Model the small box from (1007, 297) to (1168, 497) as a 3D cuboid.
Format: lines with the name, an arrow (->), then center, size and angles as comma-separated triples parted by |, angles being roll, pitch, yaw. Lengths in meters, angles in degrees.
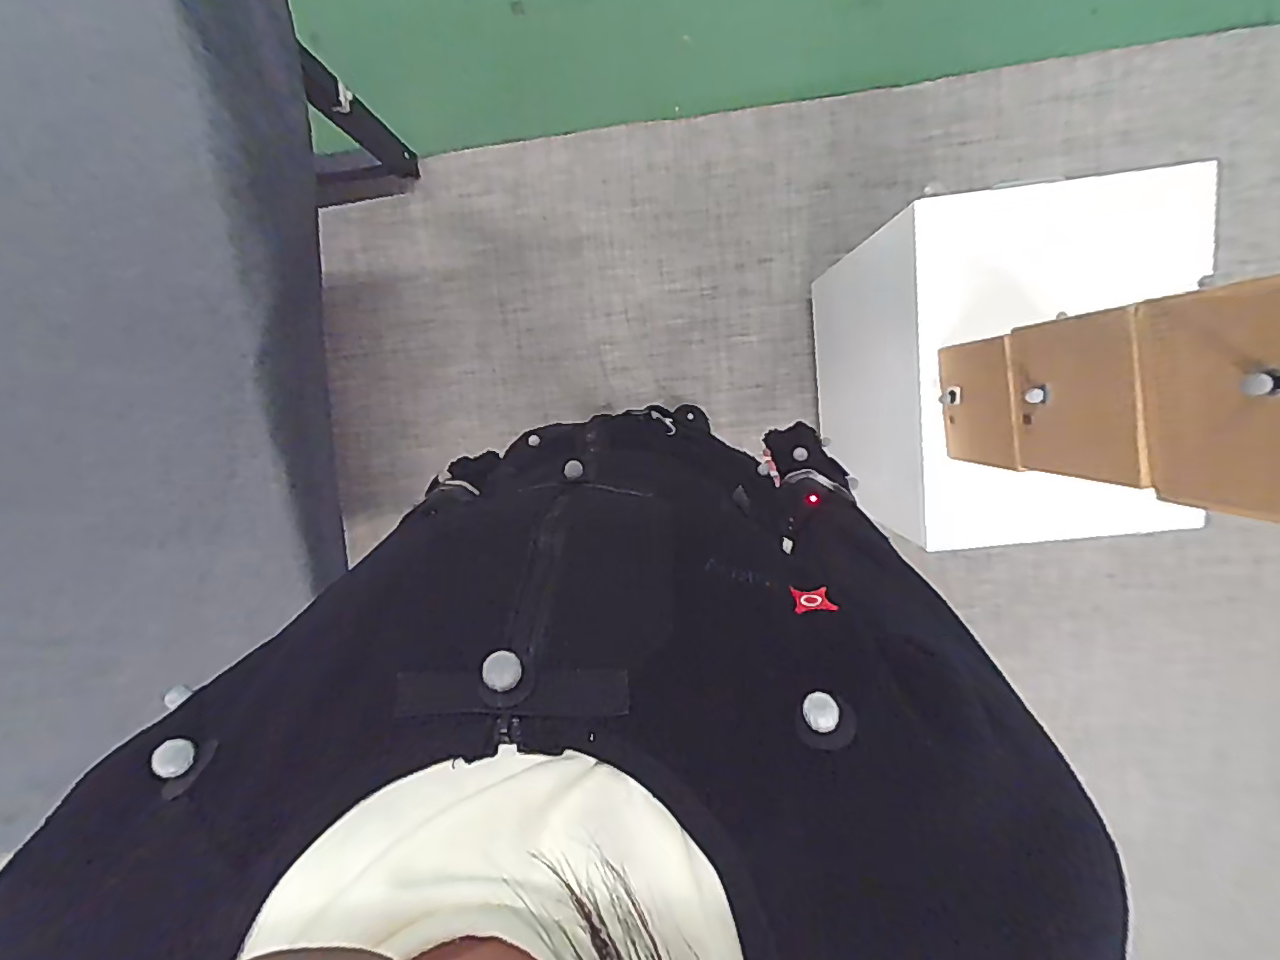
small box -> 0.510, -0.092, 0.534 | 0.179, 0.176, 0.168 | -12, 98, 3

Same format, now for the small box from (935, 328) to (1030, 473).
small box -> 0.514, -0.113, 0.696 | 0.179, 0.176, 0.168 | -10, 97, 6

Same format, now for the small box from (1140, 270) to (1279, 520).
small box -> 0.499, -0.068, 0.372 | 0.168, 0.176, 0.179 | -11, 97, 5
